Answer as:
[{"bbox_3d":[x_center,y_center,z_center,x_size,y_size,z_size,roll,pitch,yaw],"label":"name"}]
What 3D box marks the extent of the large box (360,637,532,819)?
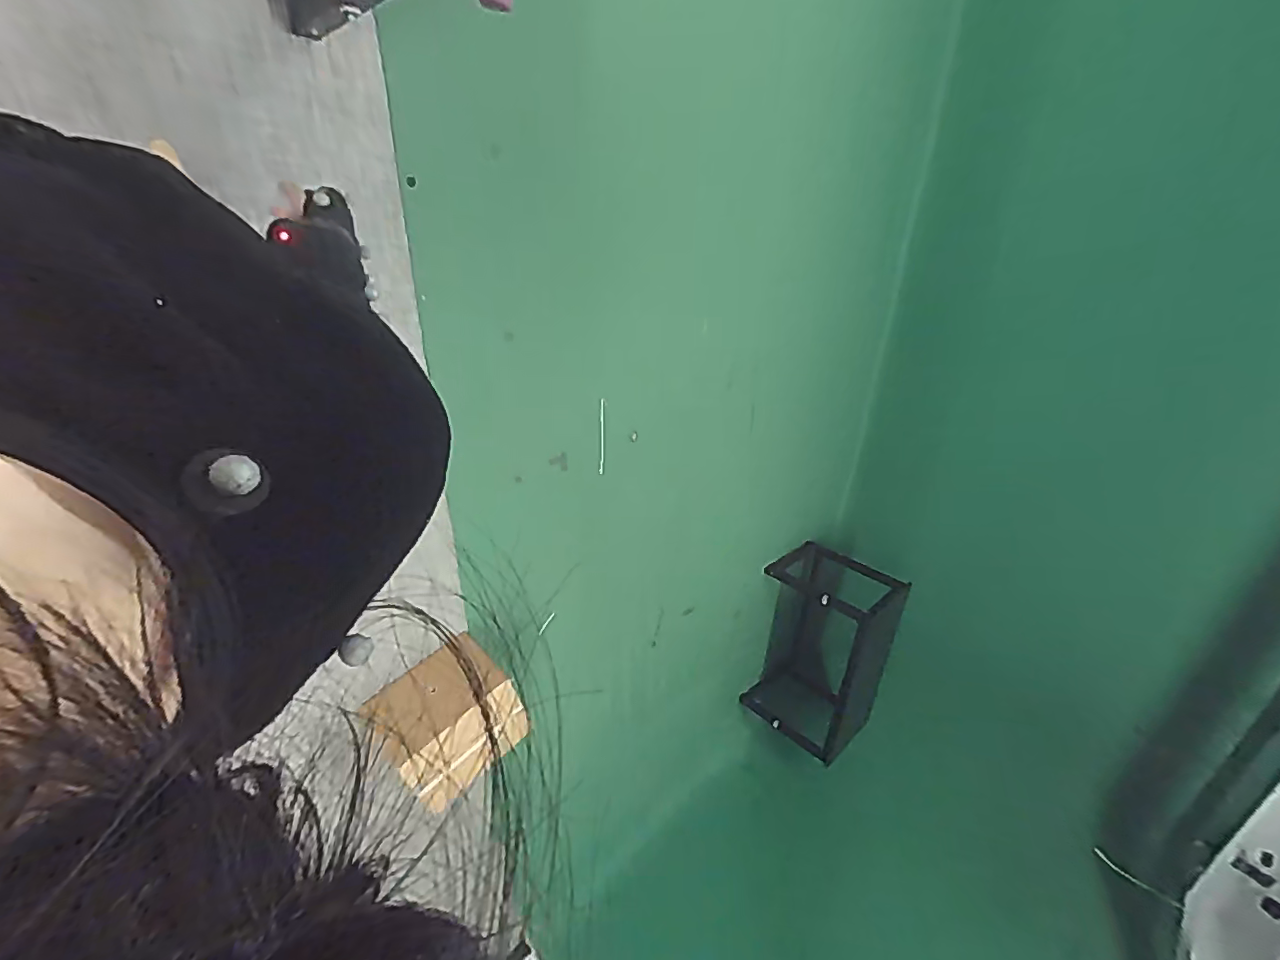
[{"bbox_3d":[-0.655,0.831,1.855,0.408,0.320,0.320,-36,133,-32],"label":"large box"}]
